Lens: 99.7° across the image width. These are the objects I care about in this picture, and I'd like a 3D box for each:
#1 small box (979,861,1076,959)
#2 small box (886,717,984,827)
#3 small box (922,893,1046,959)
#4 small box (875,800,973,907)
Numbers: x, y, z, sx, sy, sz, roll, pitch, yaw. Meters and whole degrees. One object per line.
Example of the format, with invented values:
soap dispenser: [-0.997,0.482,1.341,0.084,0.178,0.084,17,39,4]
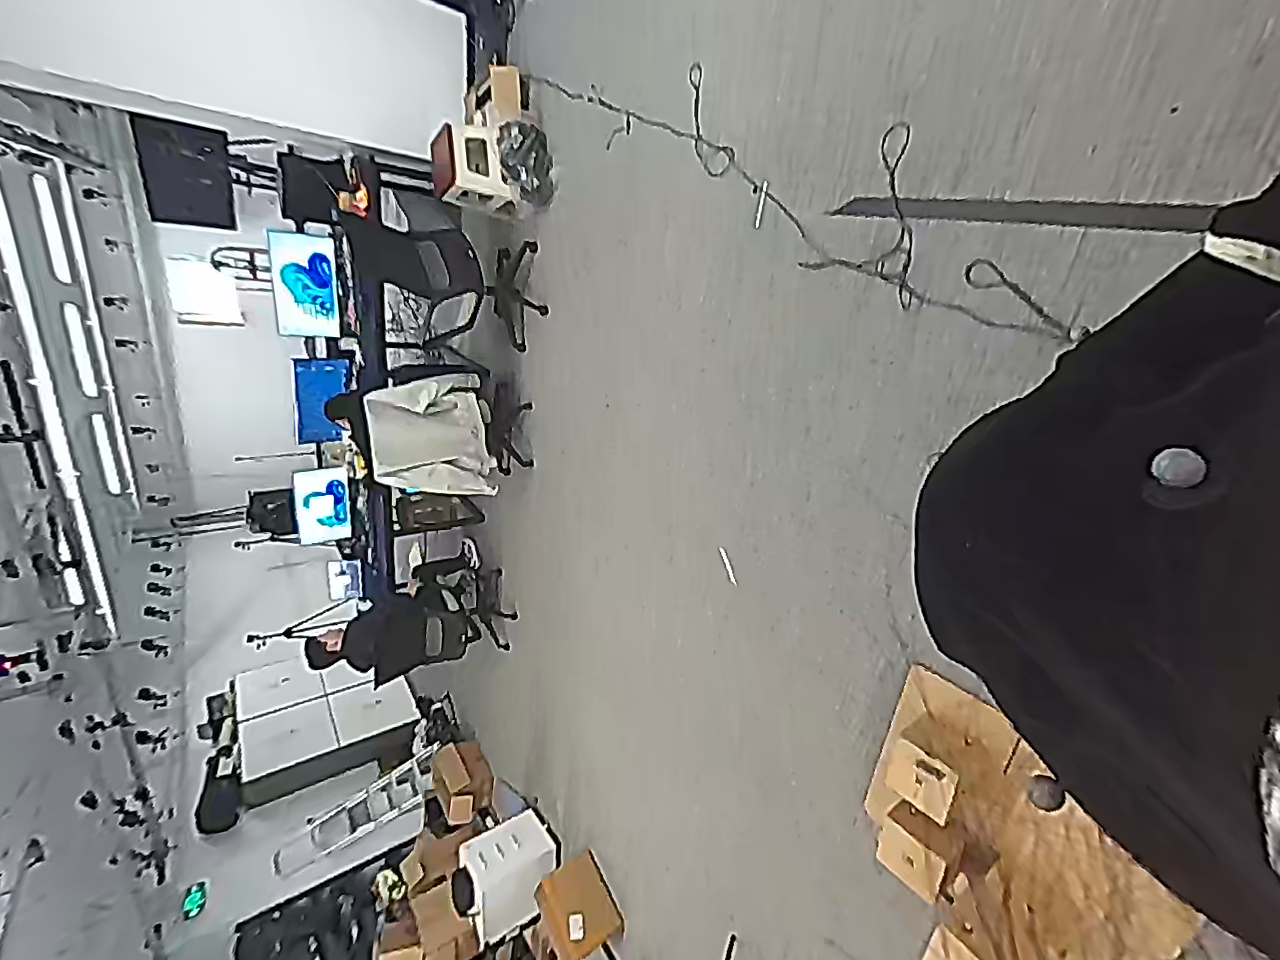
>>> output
small box: [0.955,1.119,1.360,0.179,0.176,0.168,24,115,48]
small box: [0.812,0.789,1.484,0.168,0.176,0.179,25,117,48]
small box: [0.809,1.131,1.279,0.179,0.176,0.168,29,121,47]
small box: [0.810,1.044,1.543,0.179,0.176,0.168,24,116,48]
